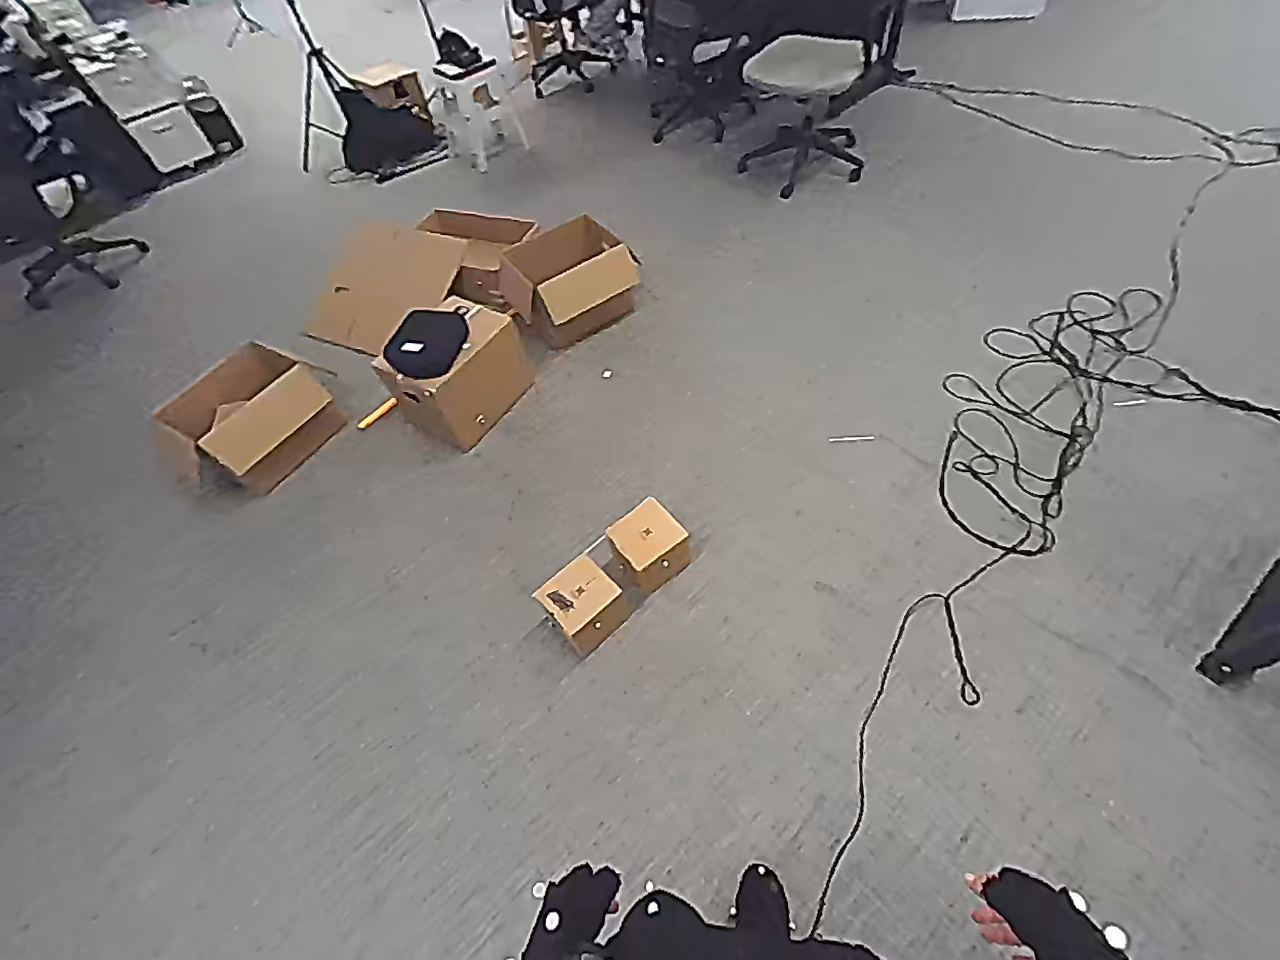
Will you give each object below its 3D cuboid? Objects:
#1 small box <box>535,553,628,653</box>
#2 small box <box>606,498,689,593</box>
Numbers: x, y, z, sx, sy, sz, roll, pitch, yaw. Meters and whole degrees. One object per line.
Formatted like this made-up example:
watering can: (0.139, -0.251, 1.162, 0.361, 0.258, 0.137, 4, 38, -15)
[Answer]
small box: (-0.152, 0.339, 1.471, 0.179, 0.176, 0.168, -39, 58, -19)
small box: (0.027, 0.191, 1.550, 0.179, 0.176, 0.168, -35, 57, -15)
